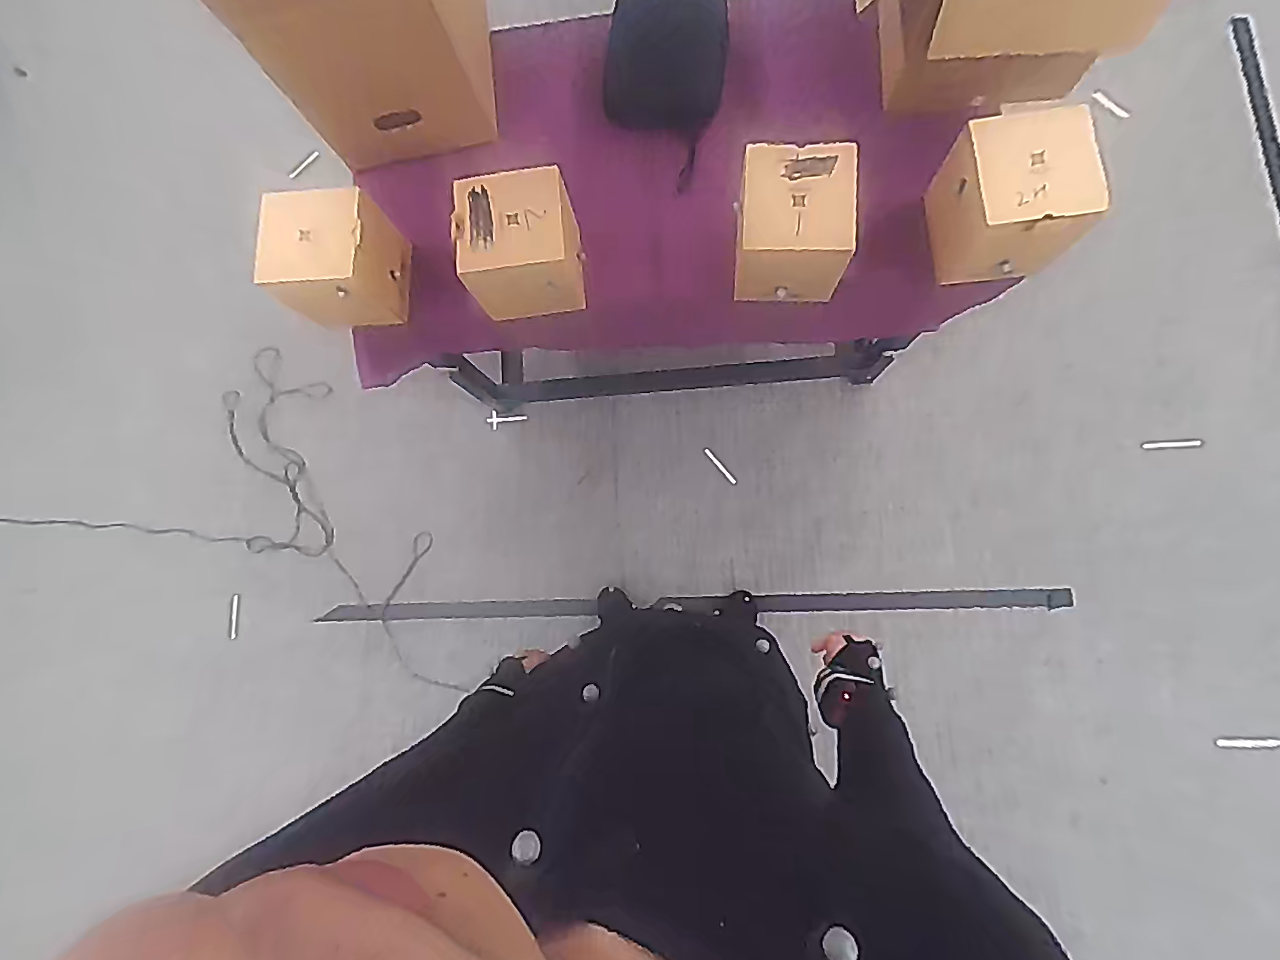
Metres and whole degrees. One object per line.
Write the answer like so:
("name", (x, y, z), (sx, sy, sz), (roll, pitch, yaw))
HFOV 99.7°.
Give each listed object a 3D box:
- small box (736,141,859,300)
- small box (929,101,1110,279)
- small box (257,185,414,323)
("small box", (0.248, -0.416, 0.884), (0.168, 0.176, 0.179), (3, 83, 7))
("small box", (0.578, -0.443, 0.851), (0.168, 0.176, 0.179), (-4, 82, 7))
("small box", (-0.532, -0.392, 0.964), (0.179, 0.176, 0.168), (-2, 82, 5))
